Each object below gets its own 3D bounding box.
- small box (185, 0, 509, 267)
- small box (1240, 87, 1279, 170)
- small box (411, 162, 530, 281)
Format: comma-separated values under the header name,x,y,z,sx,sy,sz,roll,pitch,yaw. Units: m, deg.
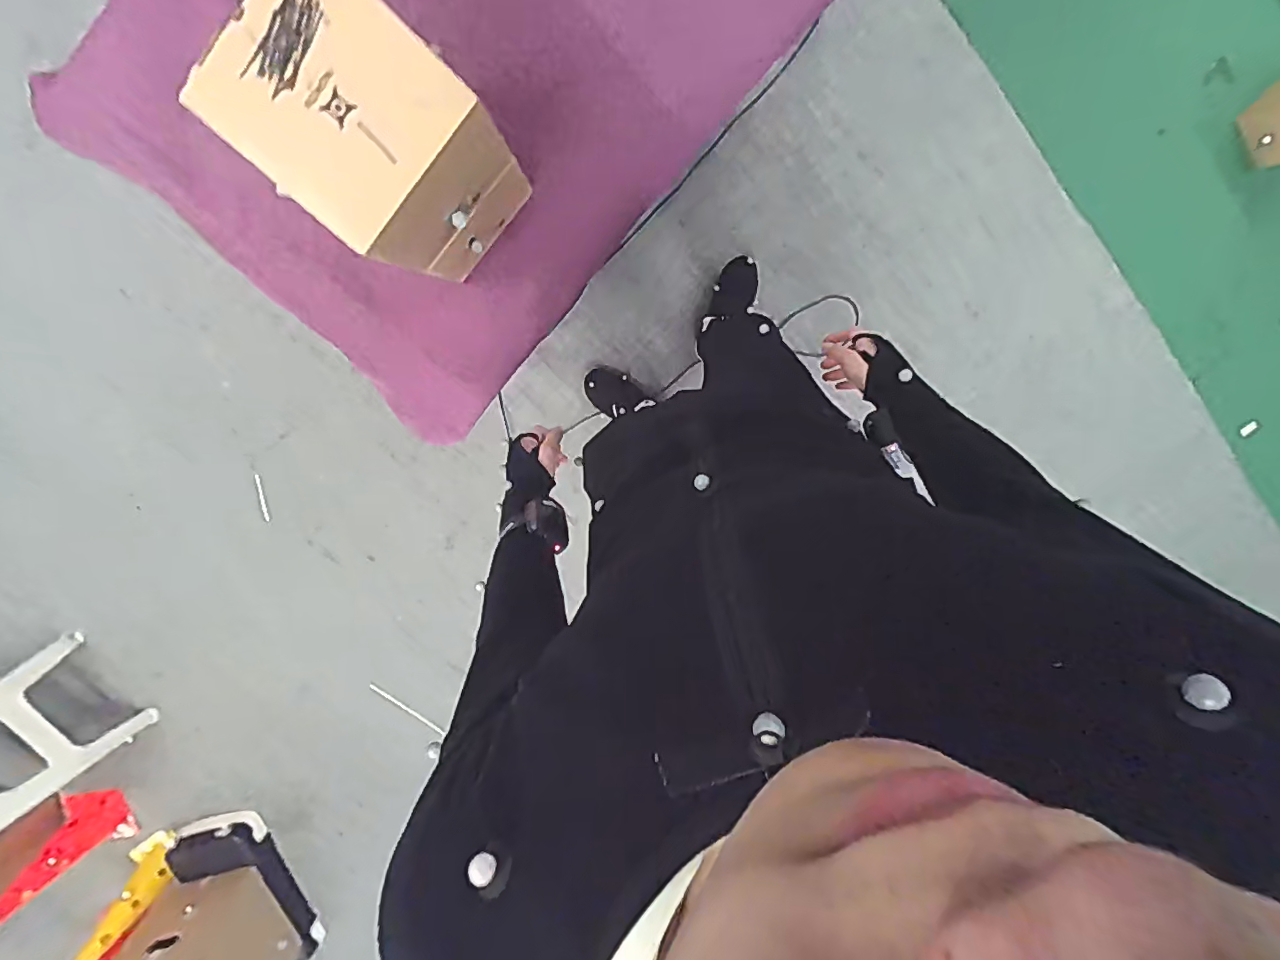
name,x,y,z,sx,sy,sz,roll,pitch,yaw
small box,-0.252,-0.326,0.514,0.179,0.176,0.168,41,101,-14
small box,1.713,-0.933,1.369,0.179,0.176,0.168,-42,104,9
small box,-0.259,-0.370,0.672,0.179,0.176,0.168,41,100,-12
